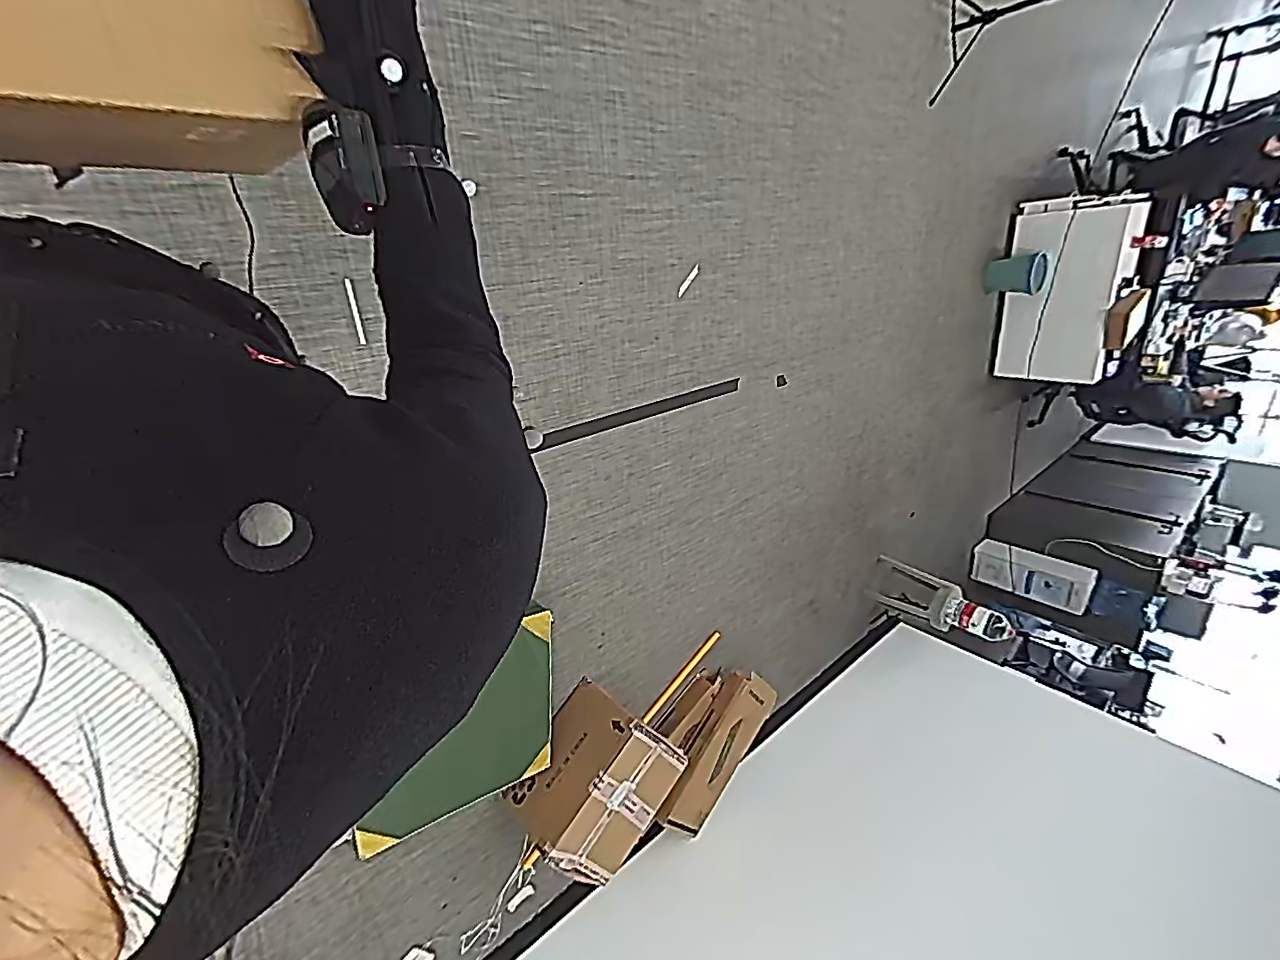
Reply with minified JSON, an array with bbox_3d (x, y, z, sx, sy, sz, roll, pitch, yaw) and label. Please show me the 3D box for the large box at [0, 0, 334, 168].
[{"bbox_3d":[-0.467,-0.376,0.307,0.408,0.320,0.320,-21,121,-36],"label":"large box"}]
